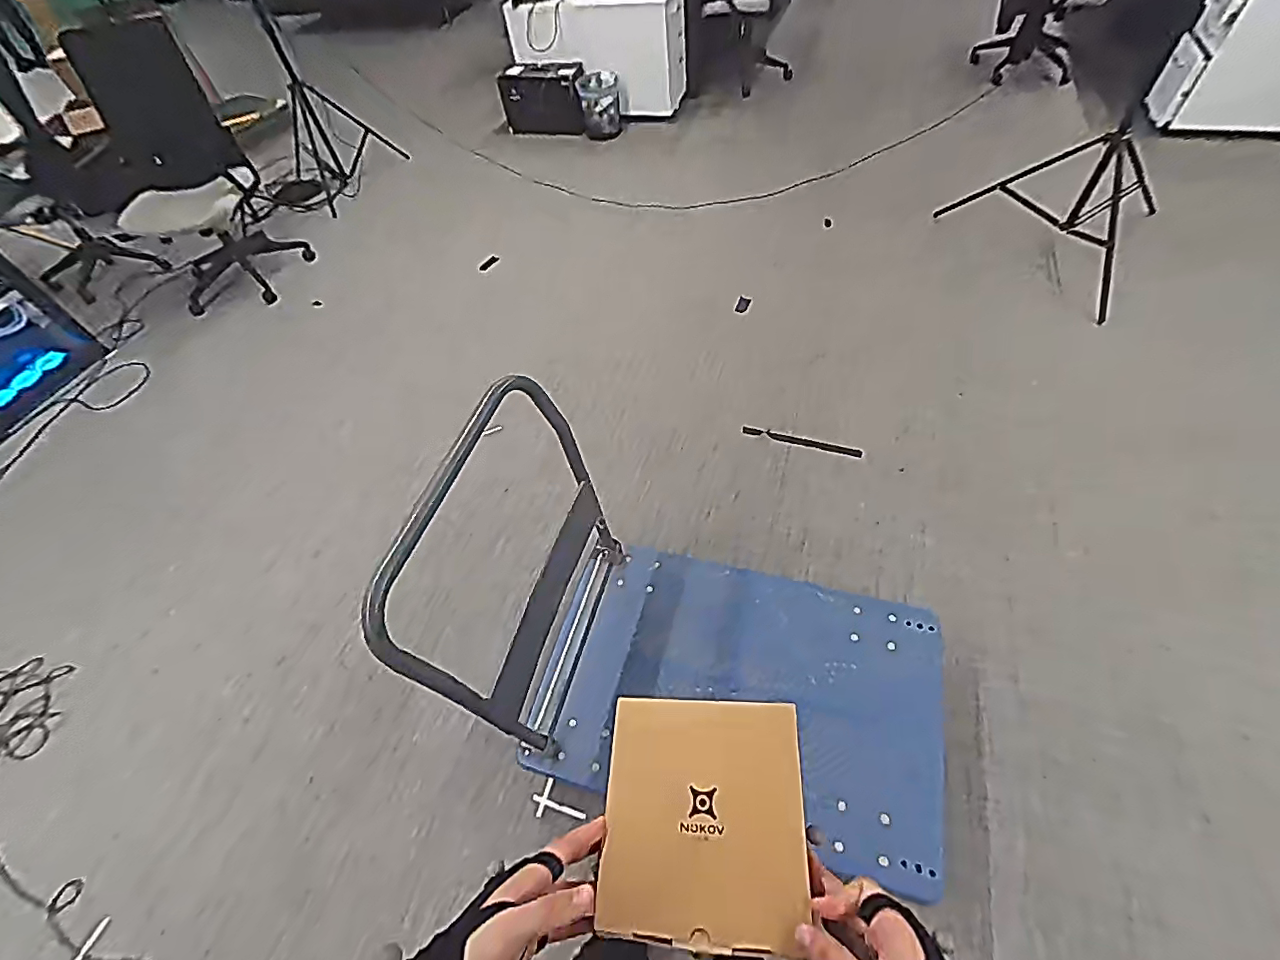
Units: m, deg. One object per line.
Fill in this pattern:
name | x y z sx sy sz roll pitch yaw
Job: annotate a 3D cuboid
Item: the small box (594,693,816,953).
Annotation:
small box | 0.065 0.317 0.508 0.168 0.176 0.179 -3 52 11
